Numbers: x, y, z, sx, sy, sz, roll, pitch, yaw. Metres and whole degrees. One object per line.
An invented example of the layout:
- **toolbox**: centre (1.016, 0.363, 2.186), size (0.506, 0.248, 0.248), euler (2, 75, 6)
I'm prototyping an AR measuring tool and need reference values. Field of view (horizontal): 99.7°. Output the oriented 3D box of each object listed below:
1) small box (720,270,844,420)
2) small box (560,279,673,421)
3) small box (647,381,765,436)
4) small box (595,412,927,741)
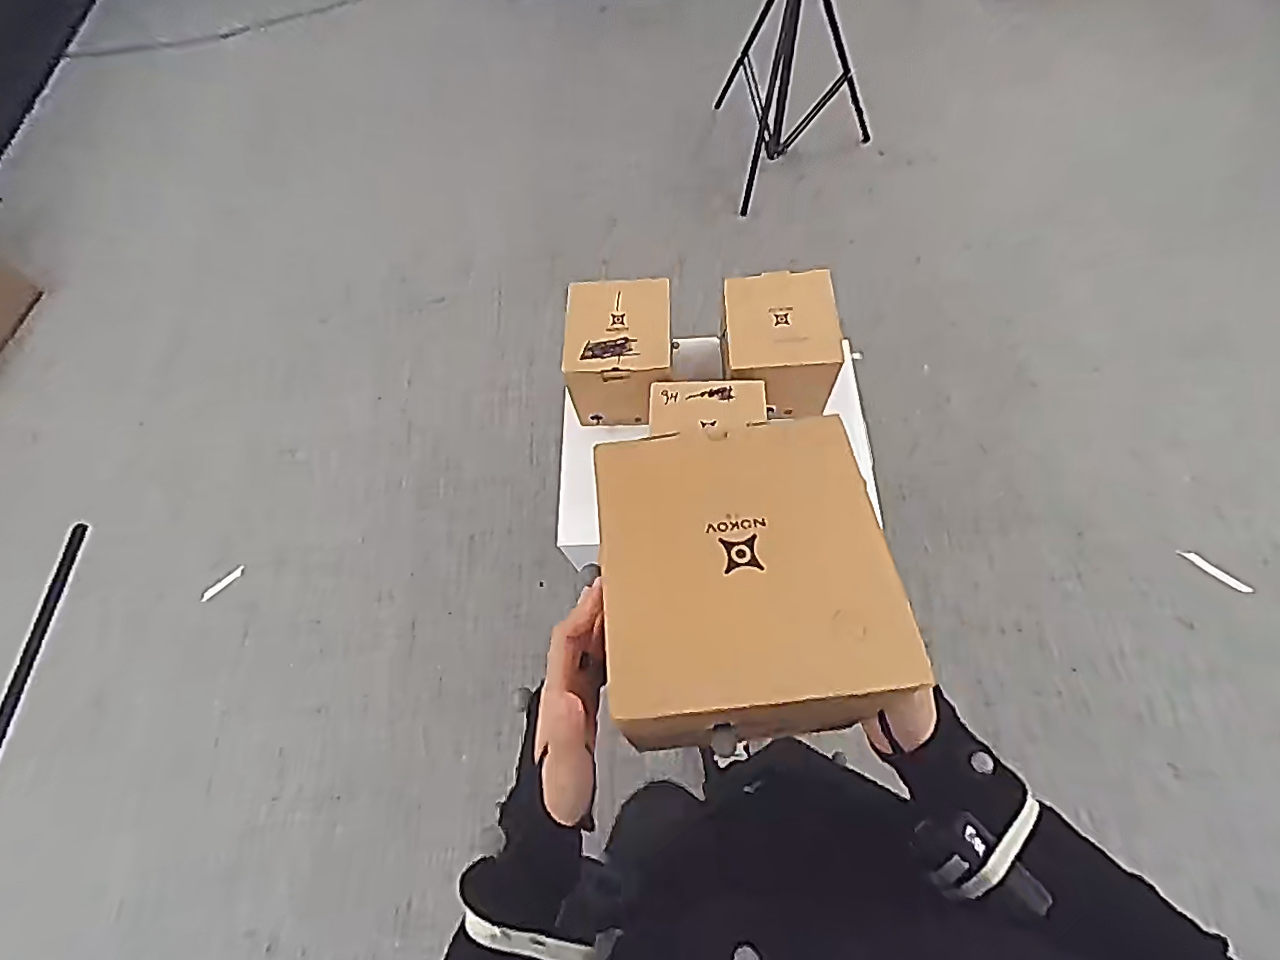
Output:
- **small box**: centre (0.220, -0.212, 0.885), size (0.168, 0.176, 0.179), euler (-3, 68, 6)
- **small box**: centre (-0.030, -0.207, 0.904), size (0.168, 0.176, 0.179), euler (-1, 66, 5)
- **small box**: centre (0.099, -0.030, 0.816), size (0.168, 0.176, 0.179), euler (0, 67, 5)
- **small box**: centre (0.065, 0.080, 0.383), size (0.168, 0.176, 0.179), euler (-7, 58, 1)
